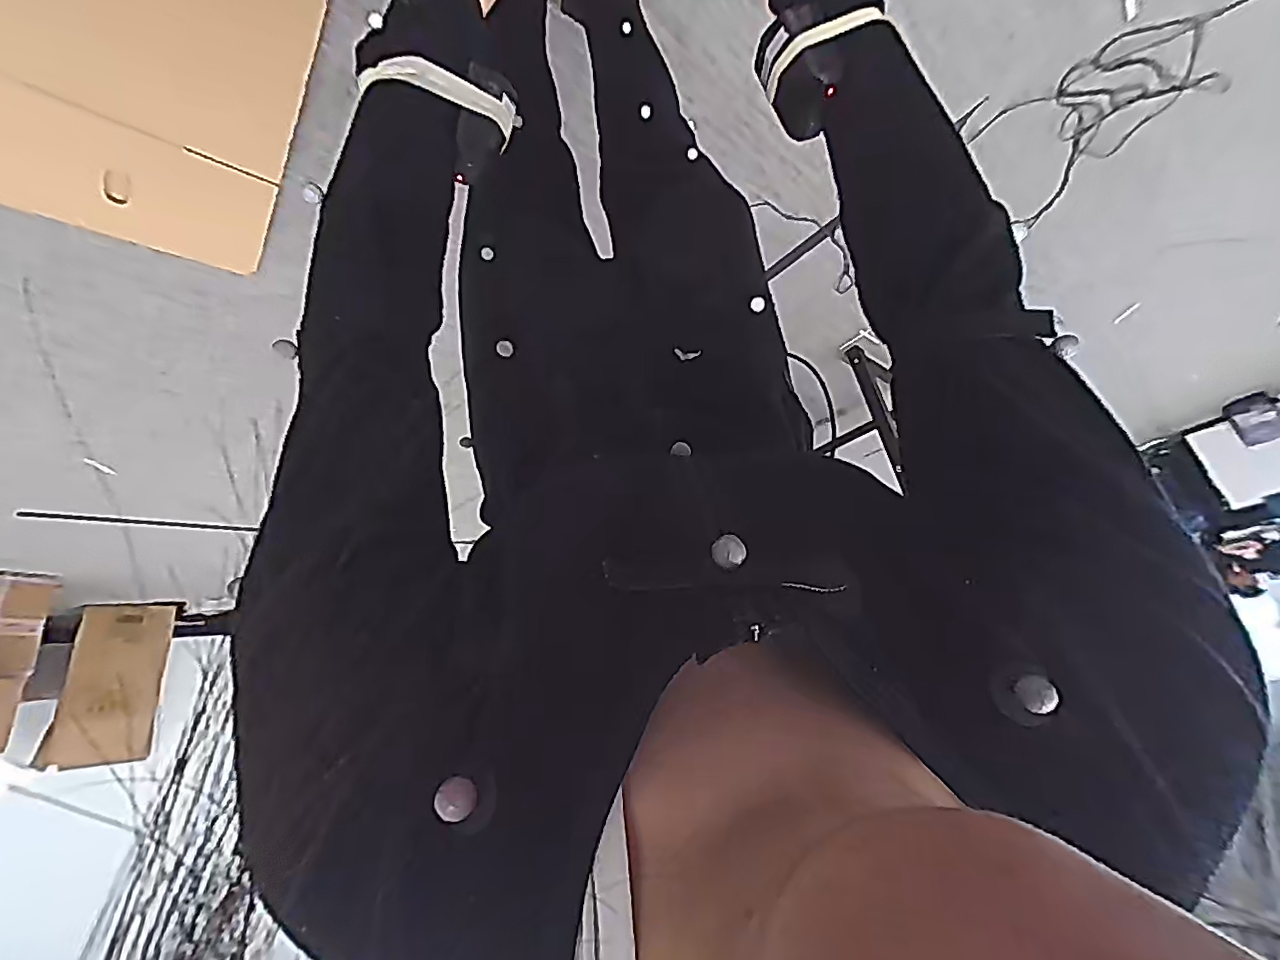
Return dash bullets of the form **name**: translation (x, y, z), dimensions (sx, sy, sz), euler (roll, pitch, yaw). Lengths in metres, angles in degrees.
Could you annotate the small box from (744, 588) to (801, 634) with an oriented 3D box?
- **small box**: translation (0.597, 0.592, 2.446), dimensions (0.179, 0.176, 0.168), euler (14, 146, -44)
